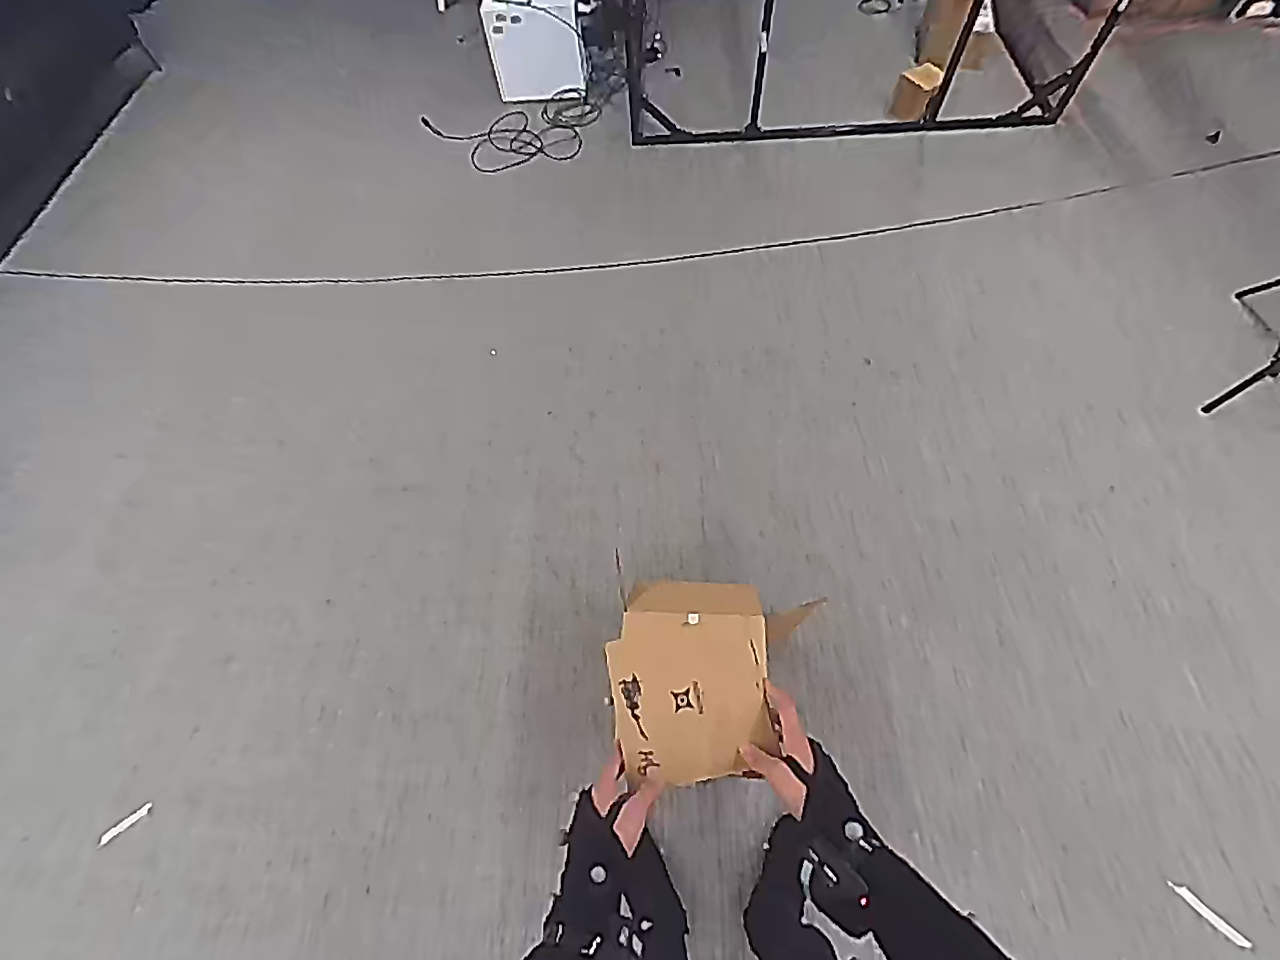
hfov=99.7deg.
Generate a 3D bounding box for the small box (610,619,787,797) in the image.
[{"bbox_3d":[0.066,0.283,0.687,0.179,0.176,0.168,-11,67,-1],"label":"small box"}]
